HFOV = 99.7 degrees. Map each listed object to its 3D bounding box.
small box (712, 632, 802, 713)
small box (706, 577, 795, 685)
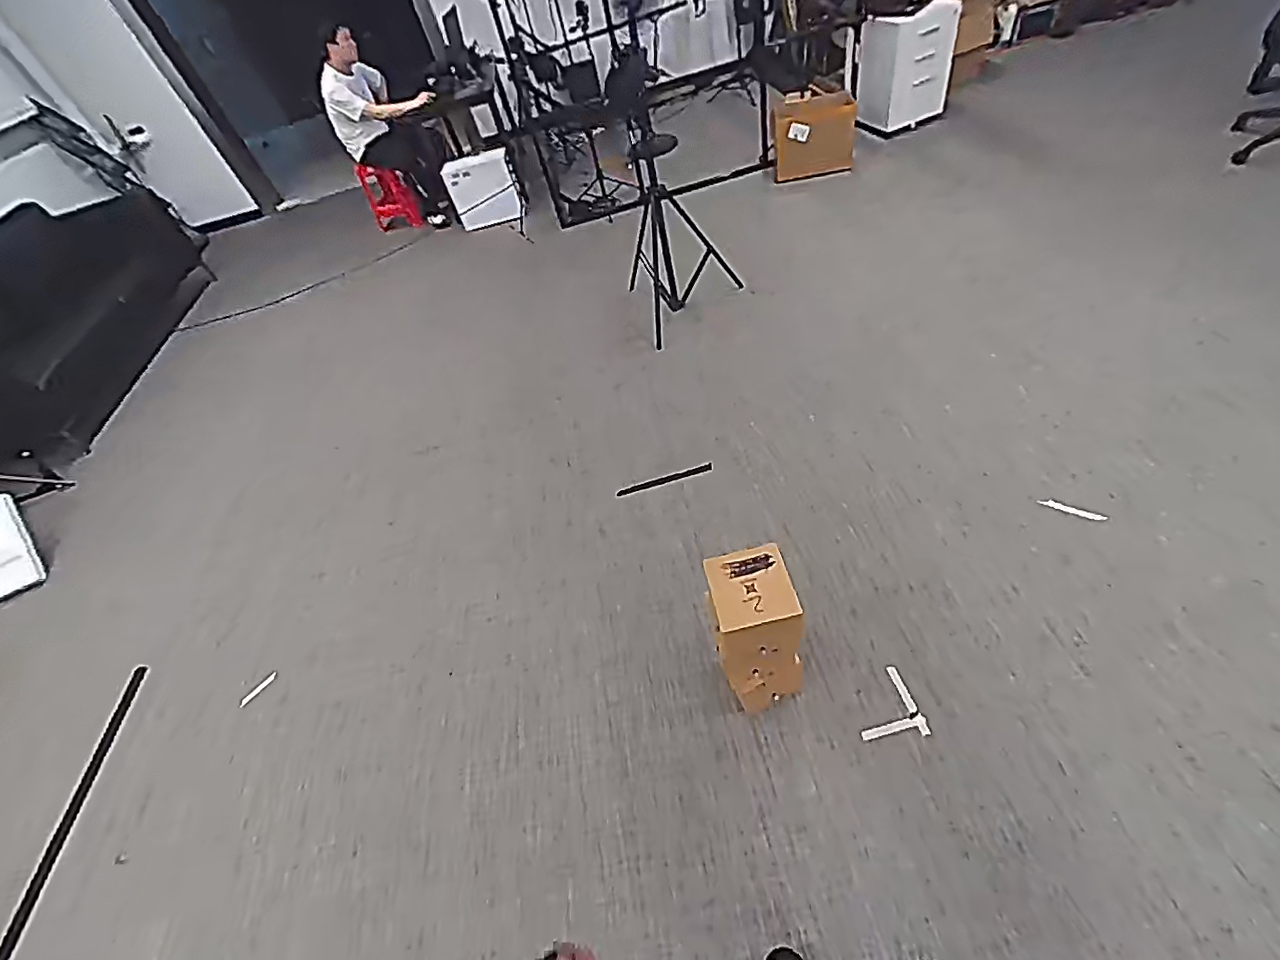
[{"bbox_3d":[0.305,0.473,1.414,0.168,0.176,0.179,-24,48,-5],"label":"small box"},{"bbox_3d":[0.263,0.365,1.300,0.168,0.176,0.179,-15,48,3],"label":"small box"}]
